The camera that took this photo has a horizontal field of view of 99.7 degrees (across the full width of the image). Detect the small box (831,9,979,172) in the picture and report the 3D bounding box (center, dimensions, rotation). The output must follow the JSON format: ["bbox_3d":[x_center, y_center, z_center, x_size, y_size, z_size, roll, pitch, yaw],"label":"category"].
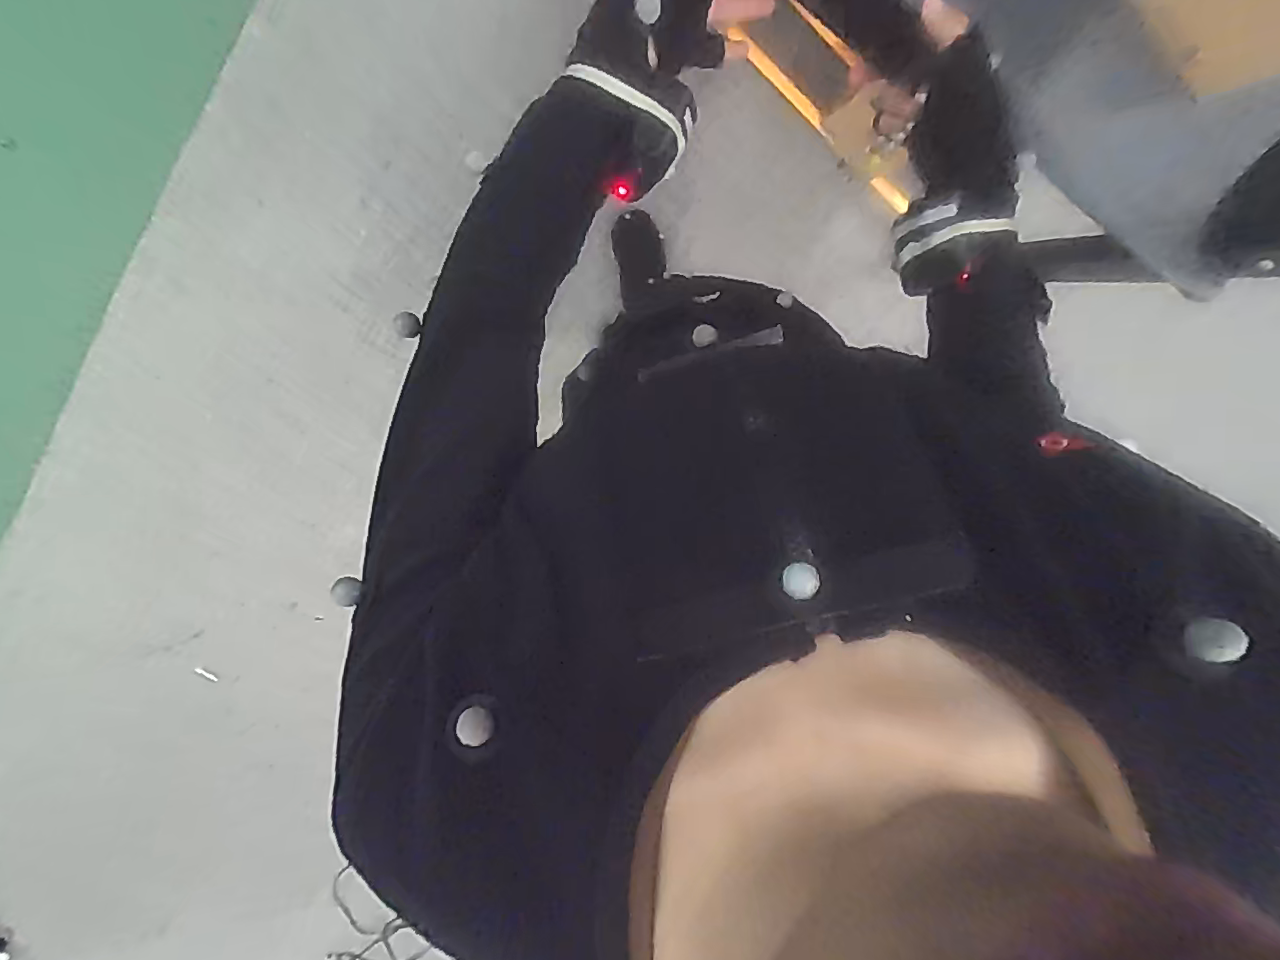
[{"bbox_3d":[0.502,-0.743,1.060,0.168,0.176,0.179,38,104,-16],"label":"small box"}]
